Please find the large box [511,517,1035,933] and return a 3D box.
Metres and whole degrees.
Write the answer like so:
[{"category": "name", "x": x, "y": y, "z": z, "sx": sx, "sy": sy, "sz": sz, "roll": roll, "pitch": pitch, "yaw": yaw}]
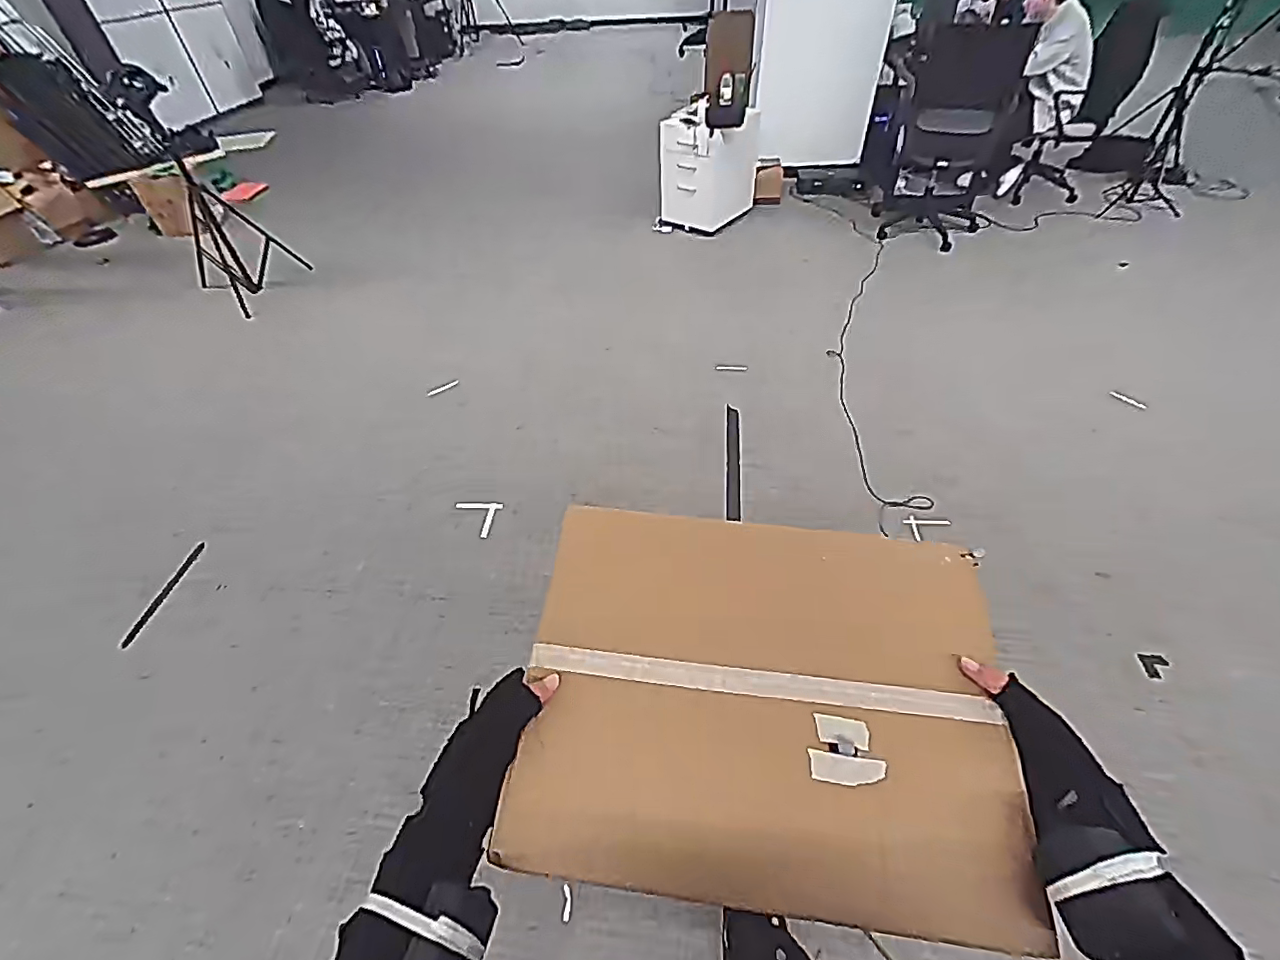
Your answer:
[{"category": "large box", "x": 0.112, "y": 0.263, "z": 0.611, "sx": 0.408, "sy": 0.320, "sz": 0.320, "roll": 6, "pitch": 59, "yaw": 5}]
